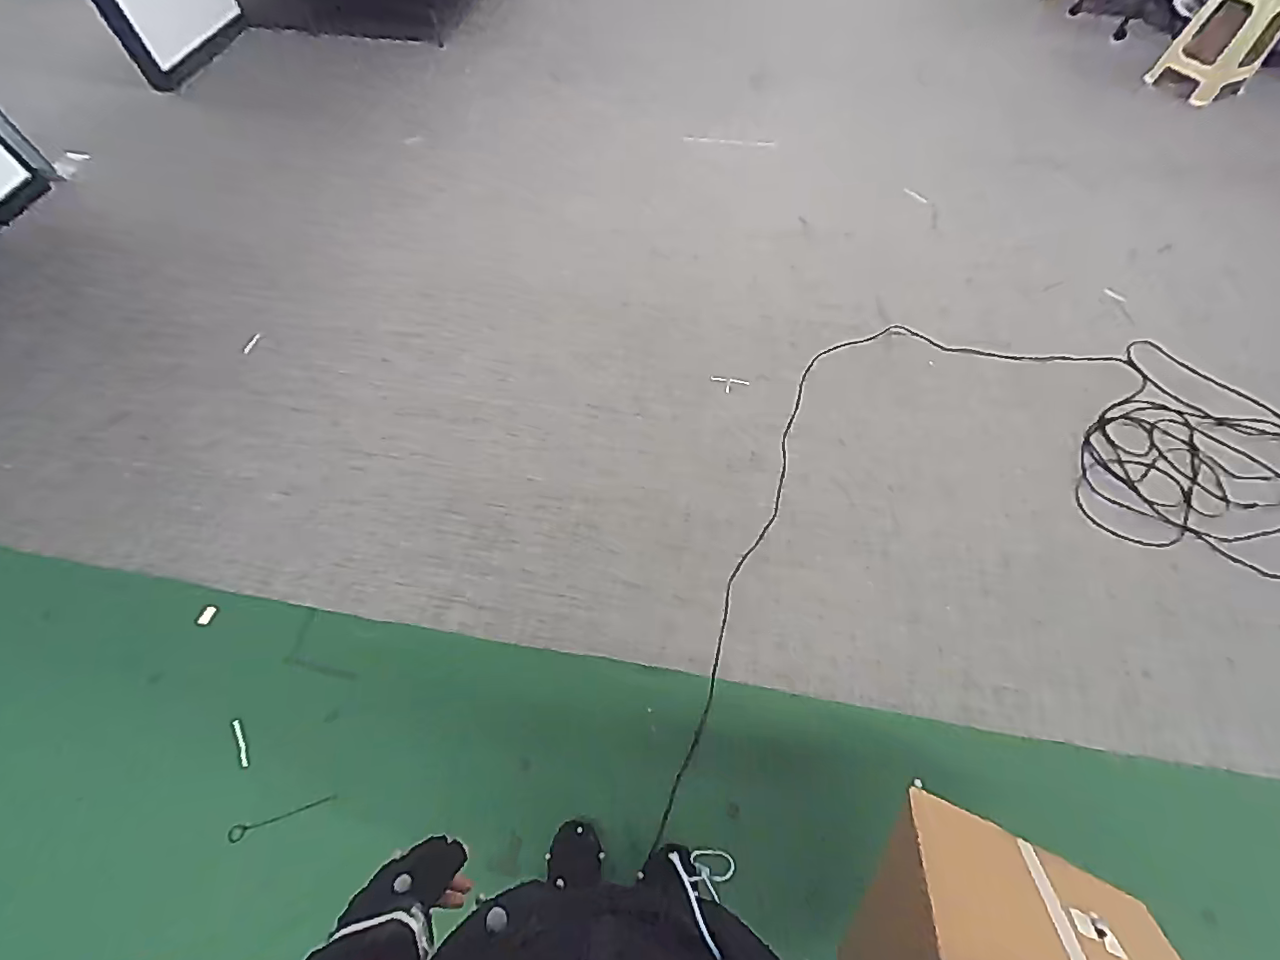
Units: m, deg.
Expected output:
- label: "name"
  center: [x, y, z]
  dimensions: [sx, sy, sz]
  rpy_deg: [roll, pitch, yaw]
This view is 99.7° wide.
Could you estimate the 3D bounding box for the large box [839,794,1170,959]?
- label: "large box"
  center: [0.433, 0.682, 0.626]
  dimensions: [0.320, 0.408, 0.320]
  rpy_deg: [22, 98, 19]
